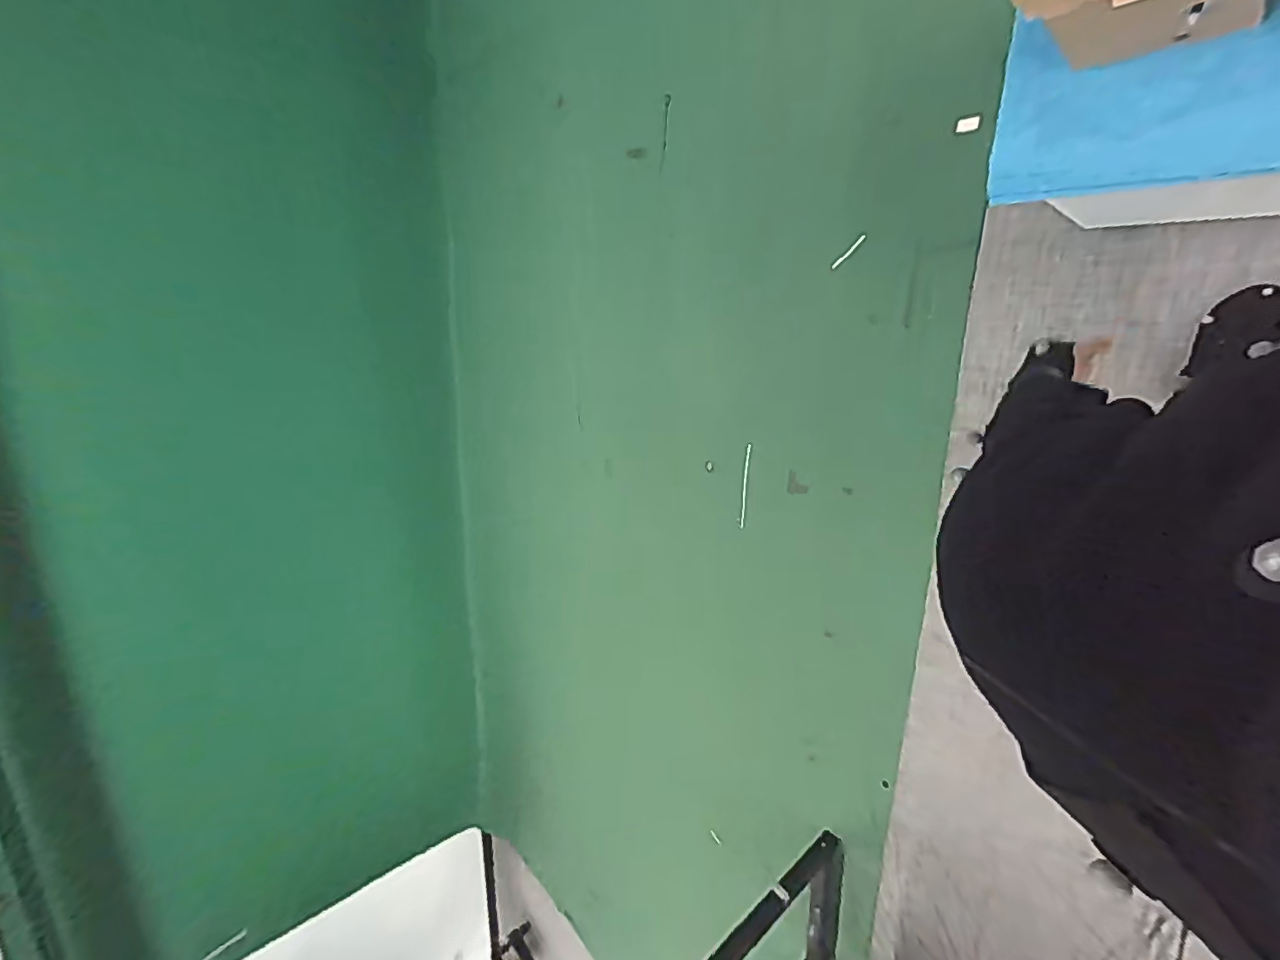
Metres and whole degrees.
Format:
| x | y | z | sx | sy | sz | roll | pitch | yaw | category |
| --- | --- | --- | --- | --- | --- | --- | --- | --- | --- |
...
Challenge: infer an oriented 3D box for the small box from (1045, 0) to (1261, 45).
| x | y | z | sx | sy | sz | roll | pitch | yaw | category |
| --- | --- | --- | --- | --- | --- | --- | --- | --- | --- |
| 0.555 | -0.589 | 0.557 | 0.168 | 0.176 | 0.179 | 19 | 113 | 44 | small box |
